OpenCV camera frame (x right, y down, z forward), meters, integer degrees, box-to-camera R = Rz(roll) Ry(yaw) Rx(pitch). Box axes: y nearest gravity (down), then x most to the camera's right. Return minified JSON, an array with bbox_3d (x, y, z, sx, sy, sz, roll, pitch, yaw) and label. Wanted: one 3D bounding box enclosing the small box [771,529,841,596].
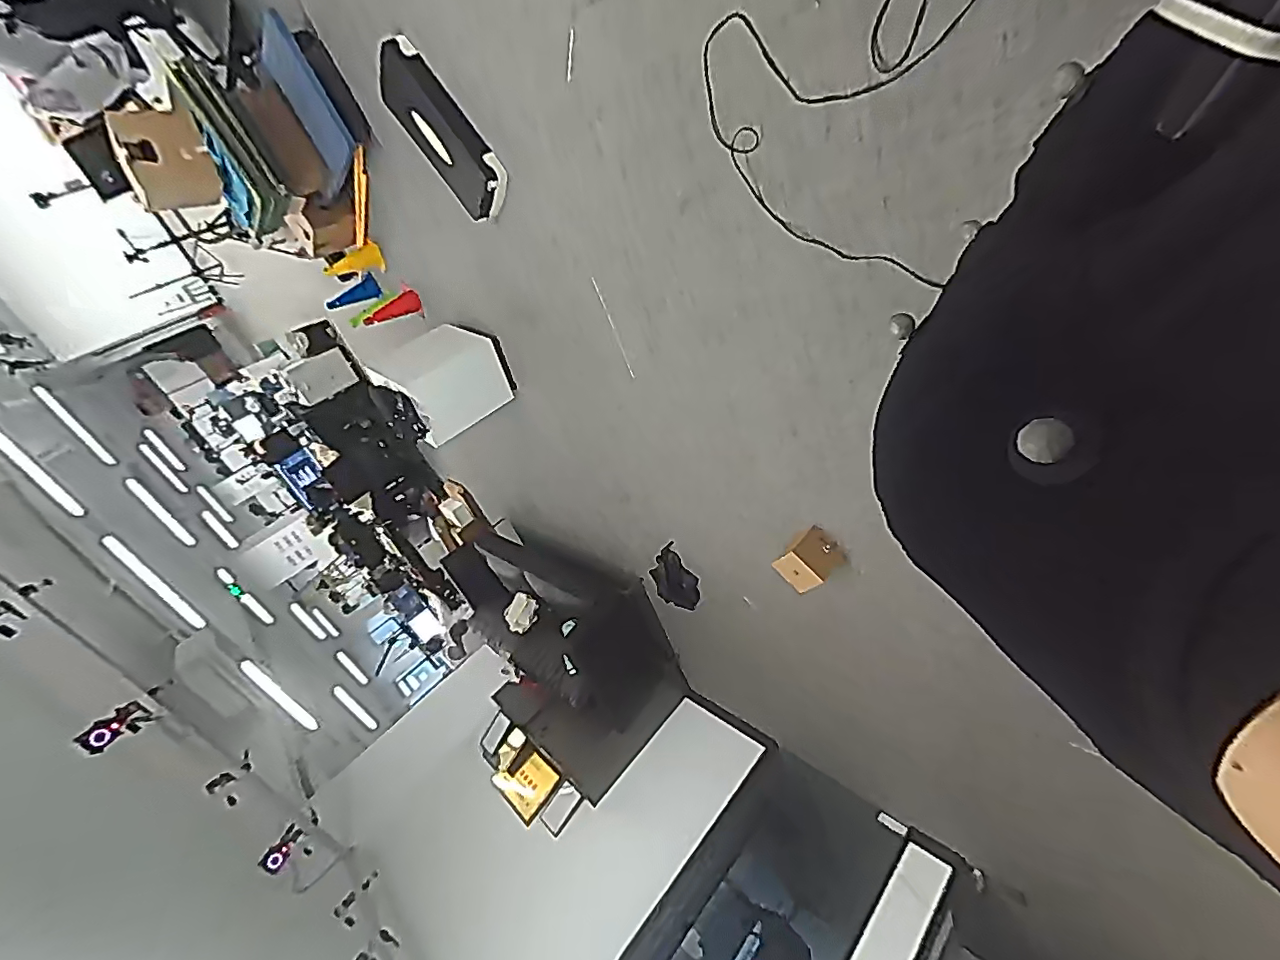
[{"bbox_3d":[0.657,0.326,2.135,0.168,0.176,0.179,44,151,8],"label":"small box"}]
